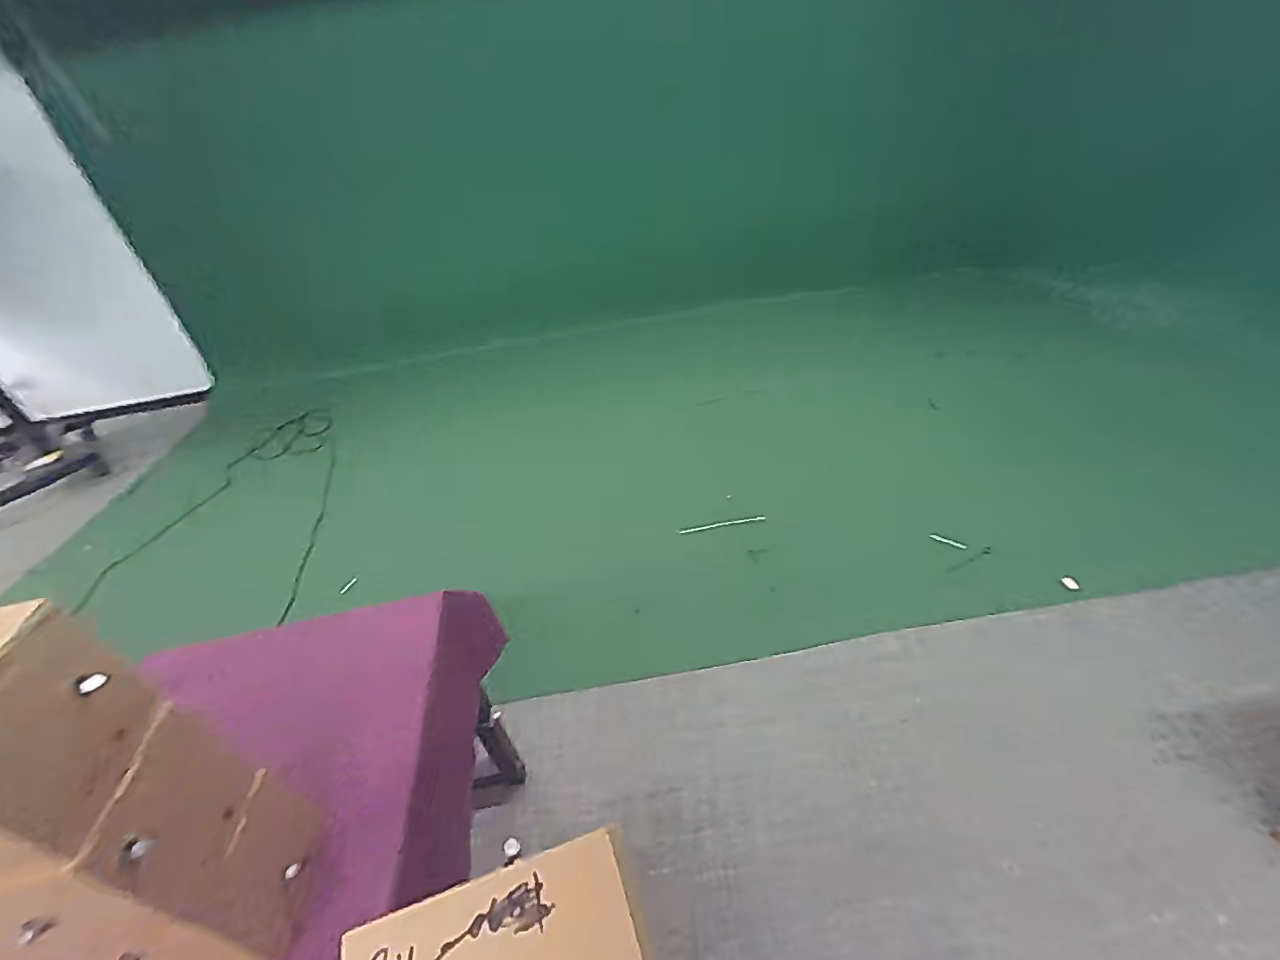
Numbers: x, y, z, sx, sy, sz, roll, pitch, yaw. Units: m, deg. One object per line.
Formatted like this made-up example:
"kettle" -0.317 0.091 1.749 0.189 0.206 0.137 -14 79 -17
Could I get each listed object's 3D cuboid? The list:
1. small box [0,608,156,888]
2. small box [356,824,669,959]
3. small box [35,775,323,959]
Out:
"small box" -0.599 0.246 0.476 0.179 0.176 0.168 -14 36 -3
"small box" -0.061 0.353 0.356 0.168 0.176 0.179 -17 60 -9
"small box" -0.543 0.503 0.672 0.179 0.176 0.168 -11 37 -1
